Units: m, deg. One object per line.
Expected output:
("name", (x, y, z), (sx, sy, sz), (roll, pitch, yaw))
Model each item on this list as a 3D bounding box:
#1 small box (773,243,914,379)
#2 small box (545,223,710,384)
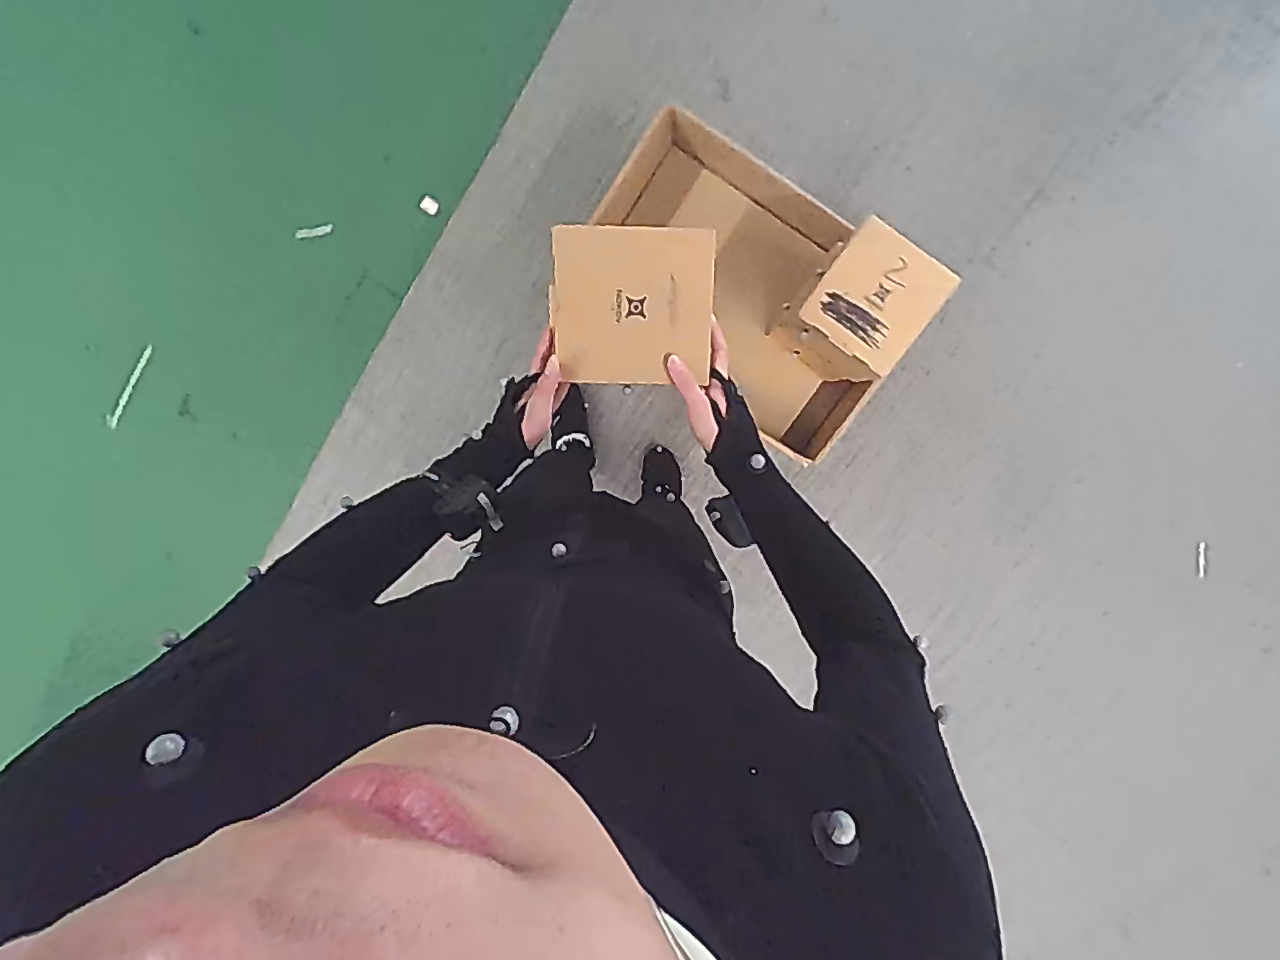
("small box", (0.374, -0.312, 1.035), (0.168, 0.176, 0.179), (36, 101, -1))
("small box", (-0.015, -0.204, 0.661), (0.179, 0.176, 0.168), (1, 102, -1))
